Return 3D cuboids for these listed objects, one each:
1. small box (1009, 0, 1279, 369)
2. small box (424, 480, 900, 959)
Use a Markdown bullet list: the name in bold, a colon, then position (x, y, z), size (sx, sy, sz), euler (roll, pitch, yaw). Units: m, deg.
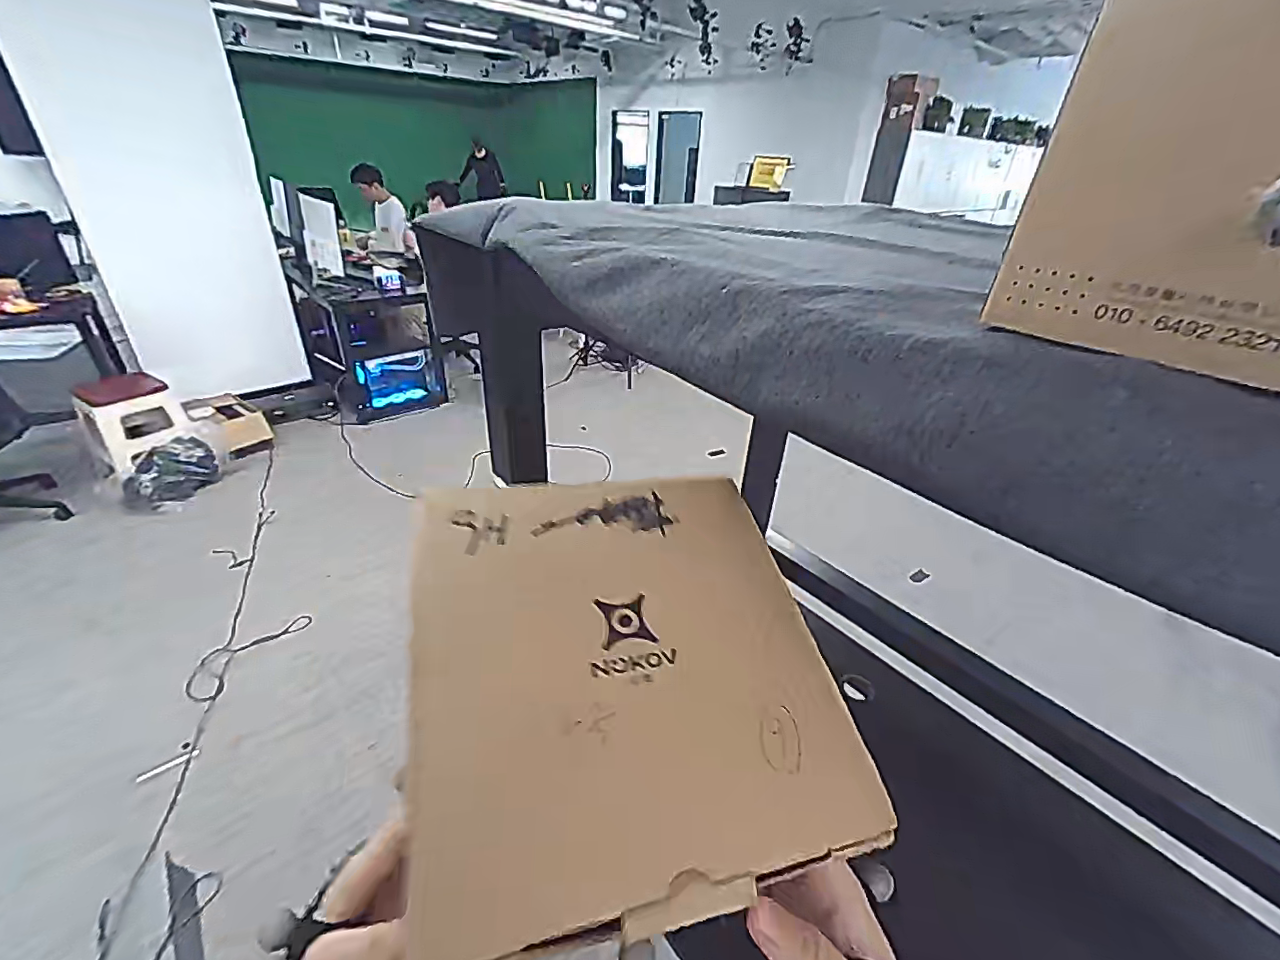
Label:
- **small box**: position (0.282, -0.138, 0.207), size (0.179, 0.176, 0.168), euler (-20, 37, -36)
- **small box**: position (-0.018, 0.119, 0.280), size (0.168, 0.176, 0.179), euler (0, 47, -20)
